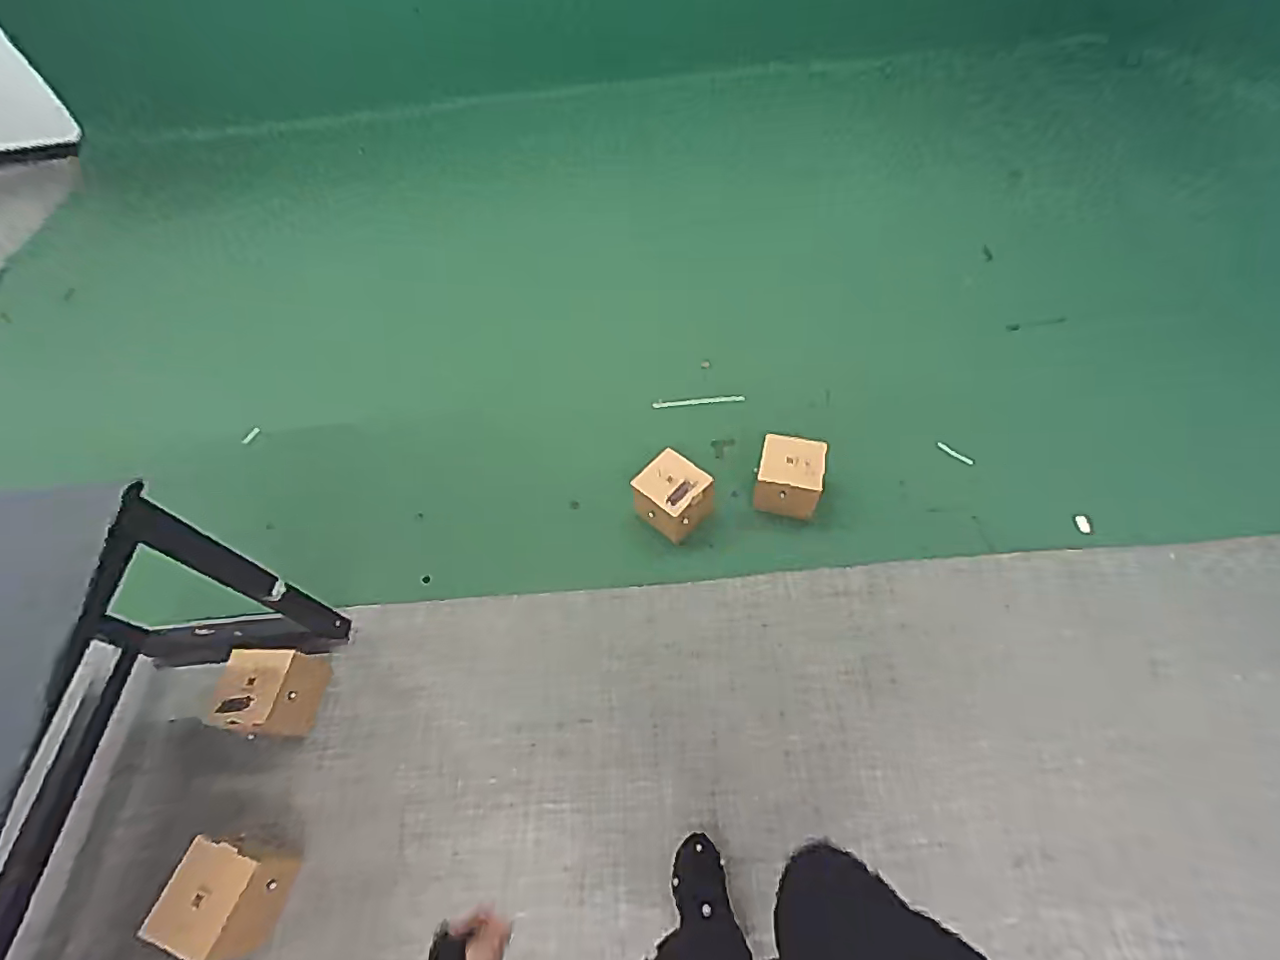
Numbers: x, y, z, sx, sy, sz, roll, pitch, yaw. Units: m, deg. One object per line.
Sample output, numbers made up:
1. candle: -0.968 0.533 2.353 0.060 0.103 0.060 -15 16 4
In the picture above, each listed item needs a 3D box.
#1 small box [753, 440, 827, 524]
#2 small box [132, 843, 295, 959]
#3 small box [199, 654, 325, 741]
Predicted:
1. small box: 0.435 0.010 1.581 0.179 0.176 0.168 12 59 12
2. small box: -0.869 0.882 1.127 0.168 0.176 0.179 12 60 13
3. small box: -0.928 0.547 1.350 0.168 0.176 0.179 0 56 4
